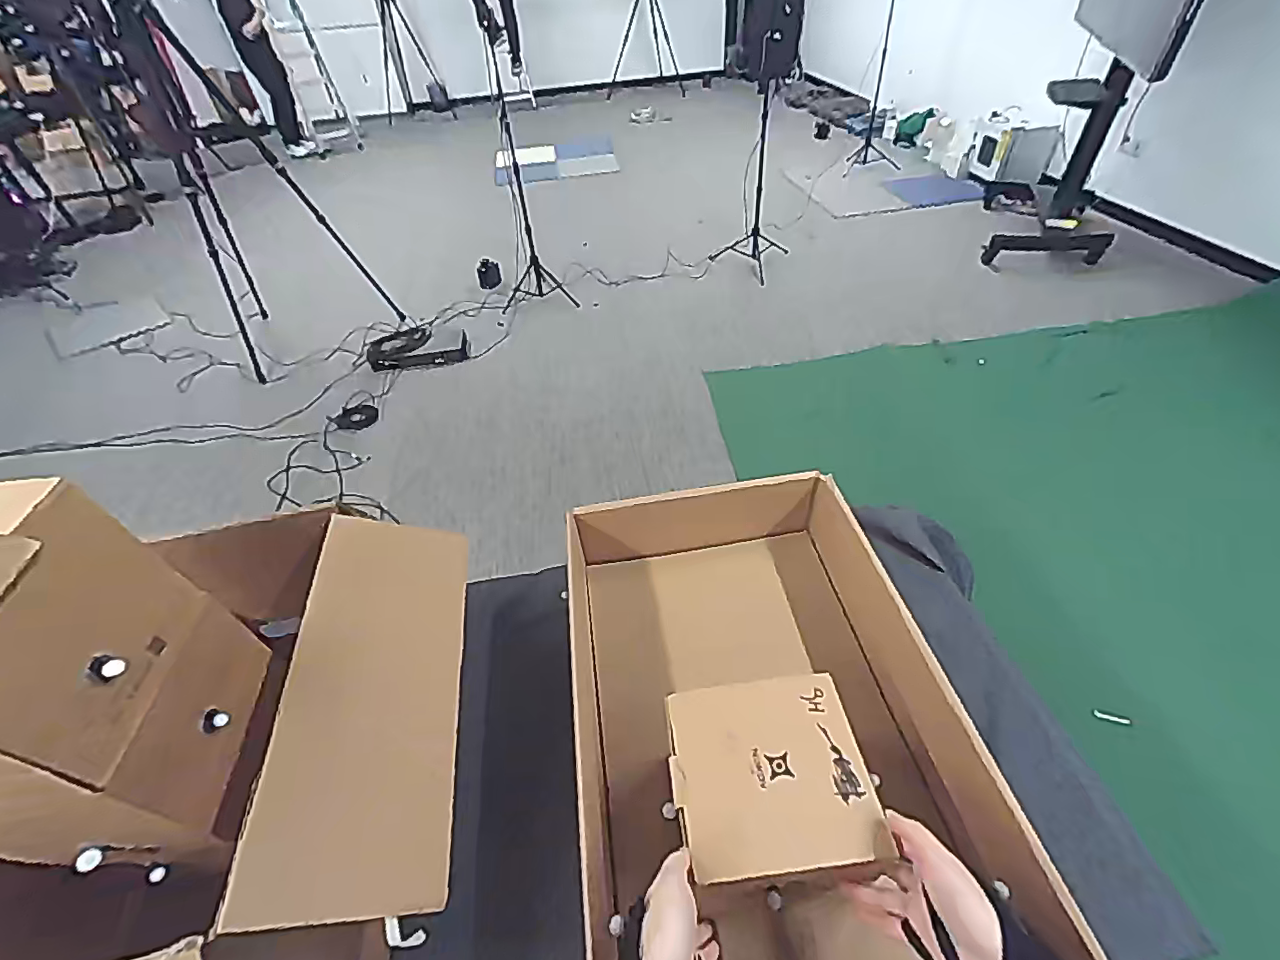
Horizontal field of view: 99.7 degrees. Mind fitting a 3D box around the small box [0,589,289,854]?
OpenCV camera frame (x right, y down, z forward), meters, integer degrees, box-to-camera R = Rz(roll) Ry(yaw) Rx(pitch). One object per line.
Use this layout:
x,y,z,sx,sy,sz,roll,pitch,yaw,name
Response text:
-0.474,0.229,0.514,0.168,0.176,0.179,-6,47,-2,small box
